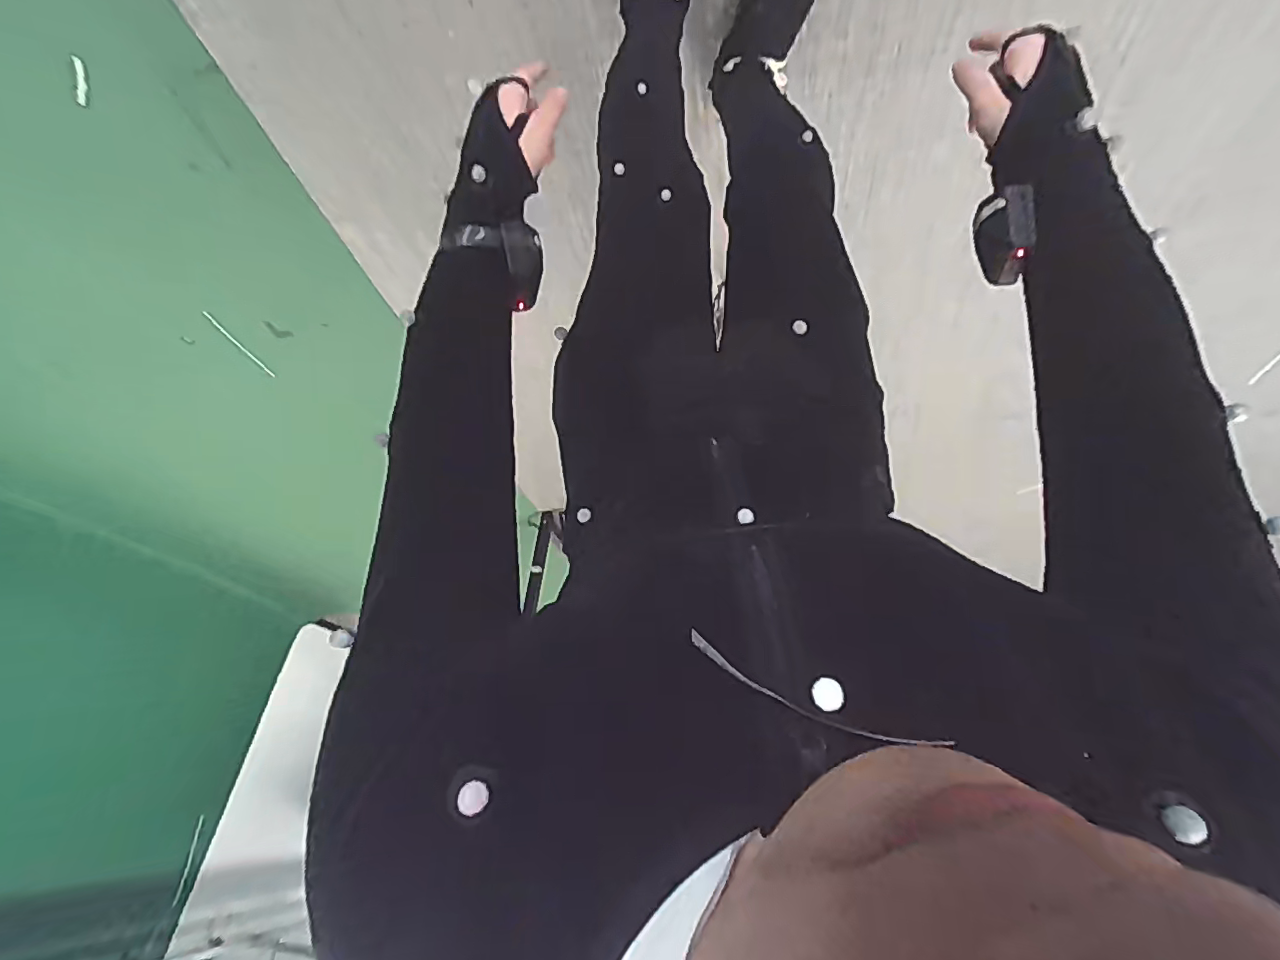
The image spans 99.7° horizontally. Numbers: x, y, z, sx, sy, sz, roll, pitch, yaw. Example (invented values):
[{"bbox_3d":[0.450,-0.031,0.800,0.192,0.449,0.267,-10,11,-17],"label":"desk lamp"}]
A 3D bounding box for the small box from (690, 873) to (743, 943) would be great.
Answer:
[{"bbox_3d":[0.282,1.560,1.979,0.179,0.176,0.168,-2,149,14],"label":"small box"}]

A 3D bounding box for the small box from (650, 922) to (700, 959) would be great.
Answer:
[{"bbox_3d":[0.127,1.706,1.934,0.168,0.176,0.179,1,151,11],"label":"small box"}]
